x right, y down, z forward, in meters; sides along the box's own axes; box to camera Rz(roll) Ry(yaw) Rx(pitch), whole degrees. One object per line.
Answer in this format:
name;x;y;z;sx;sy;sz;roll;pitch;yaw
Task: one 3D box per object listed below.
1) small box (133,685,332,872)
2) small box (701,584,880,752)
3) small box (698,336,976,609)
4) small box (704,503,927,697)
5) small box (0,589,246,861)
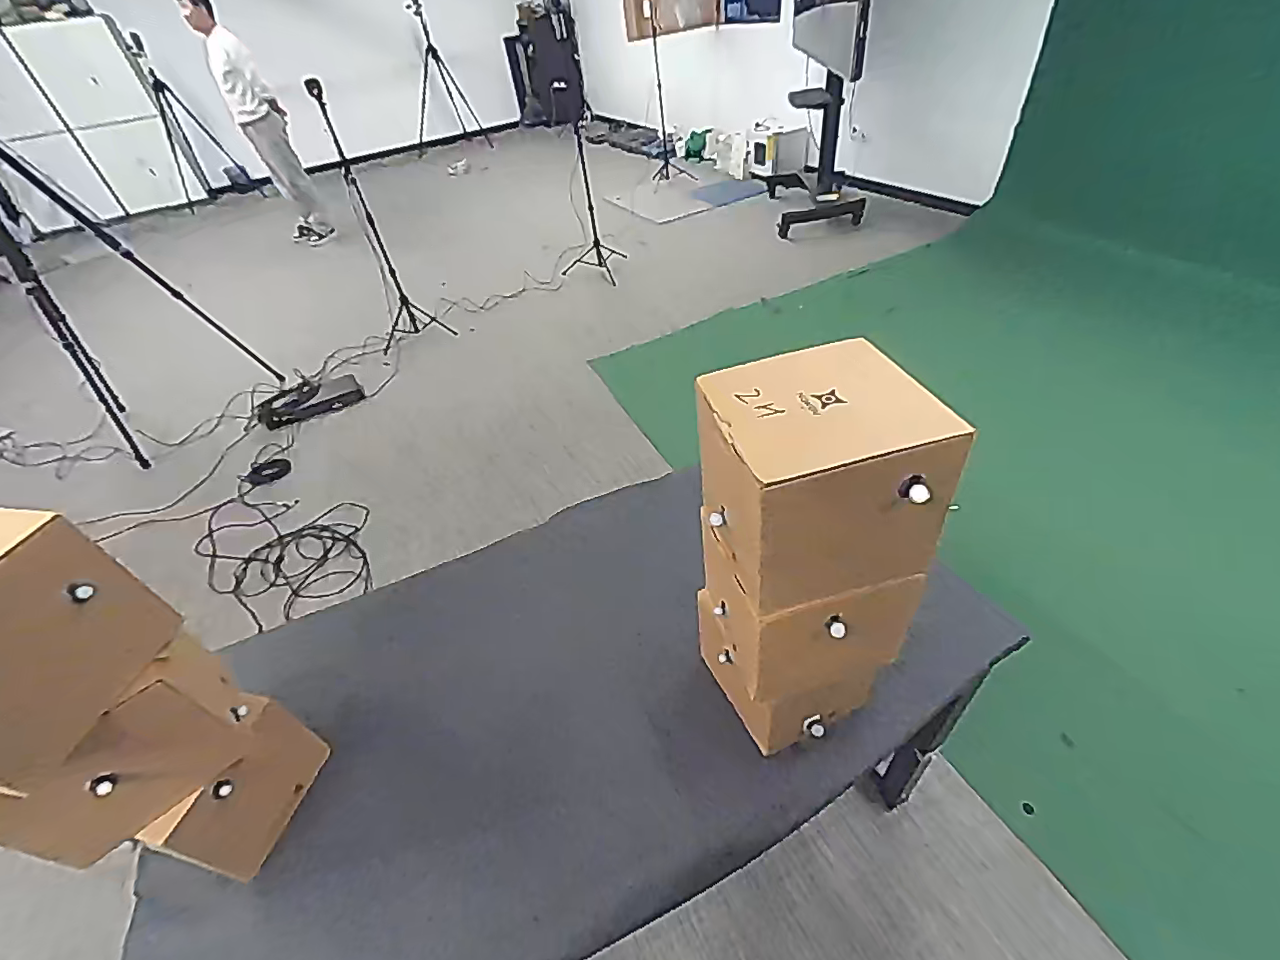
small box;-0.555;0.378;0.701;0.179;0.176;0.168;5;45;14
small box;0.196;0.227;0.736;0.168;0.176;0.179;-23;44;-13
small box;0.164;-0.007;0.509;0.179;0.176;0.168;-15;42;-4
small box;0.183;0.116;0.617;0.179;0.176;0.168;-16;42;-5
small box;-0.571;0.261;0.586;0.179;0.176;0.168;-37;51;-27
